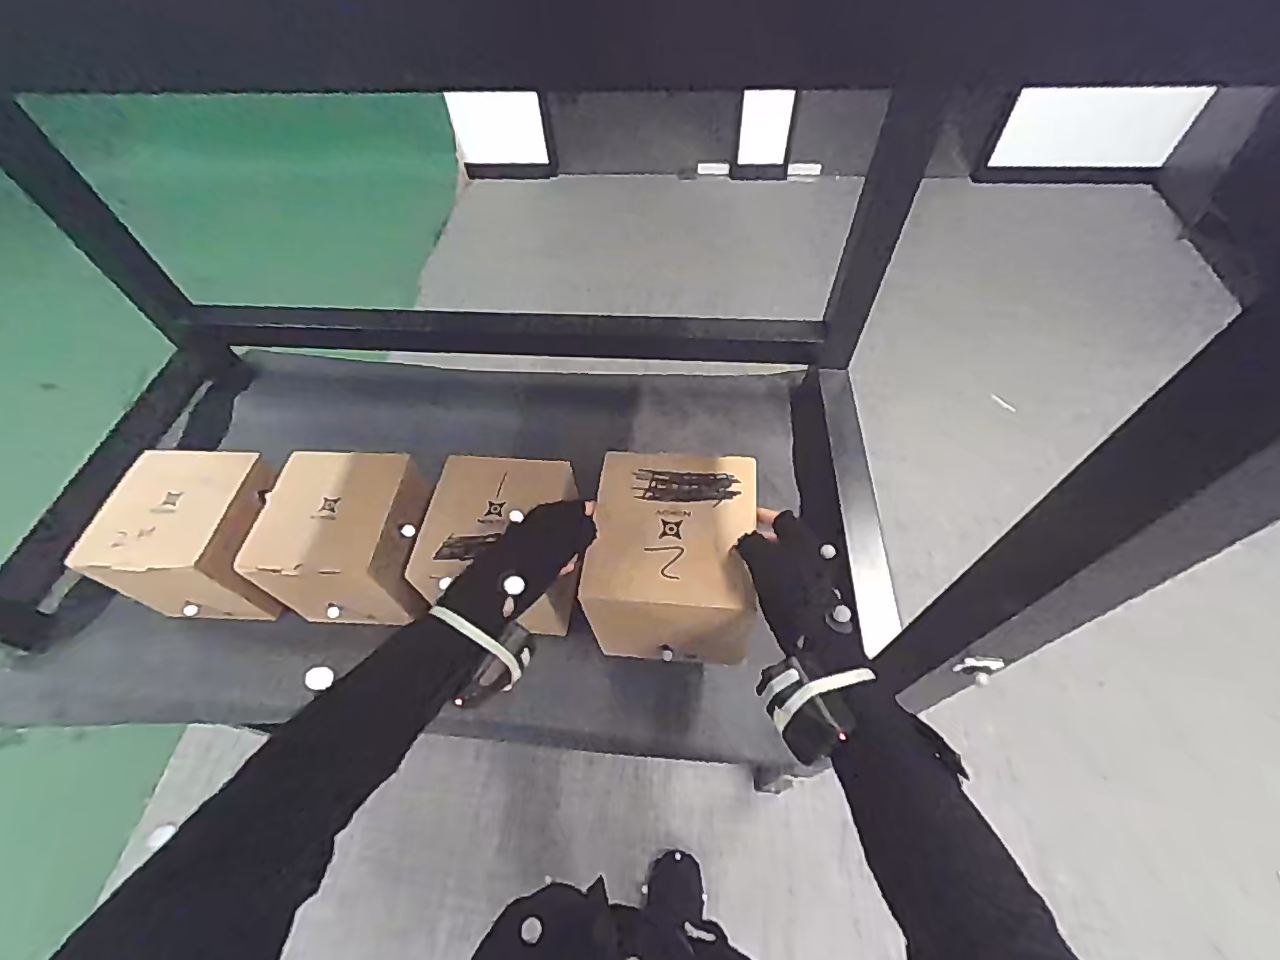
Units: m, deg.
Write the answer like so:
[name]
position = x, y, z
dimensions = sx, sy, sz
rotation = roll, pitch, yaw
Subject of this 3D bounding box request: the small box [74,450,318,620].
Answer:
[small box]
position = -0.588, 0.078, 0.752
dimensions = 0.168, 0.176, 0.179
rotation = 1, 55, 3
